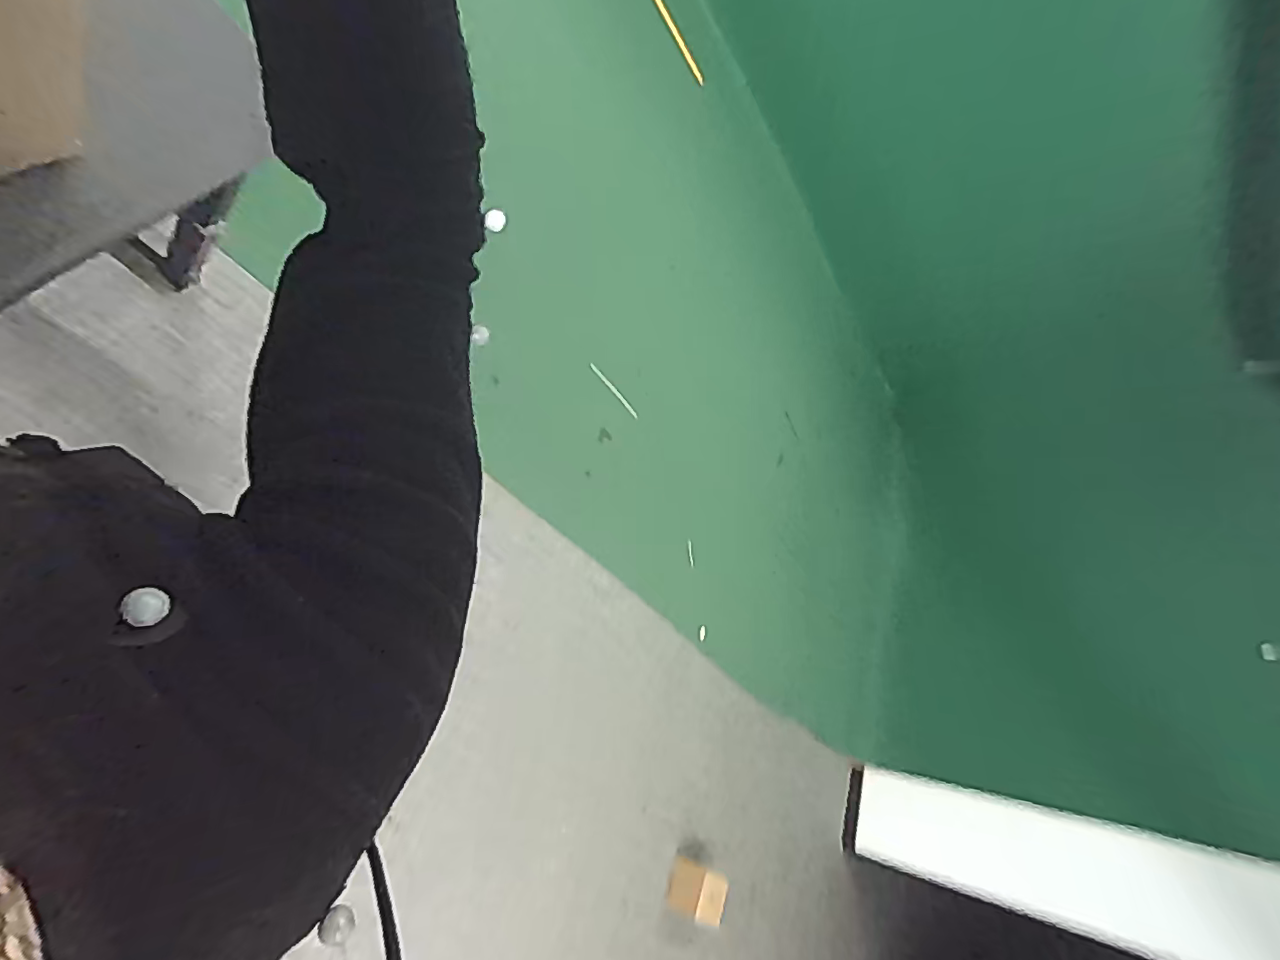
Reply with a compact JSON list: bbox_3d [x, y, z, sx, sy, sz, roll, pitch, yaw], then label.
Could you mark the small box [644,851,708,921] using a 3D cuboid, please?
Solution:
[{"bbox_3d":[0.142,1.624,2.172,0.179,0.176,0.168,48,52,-33],"label":"small box"}]
